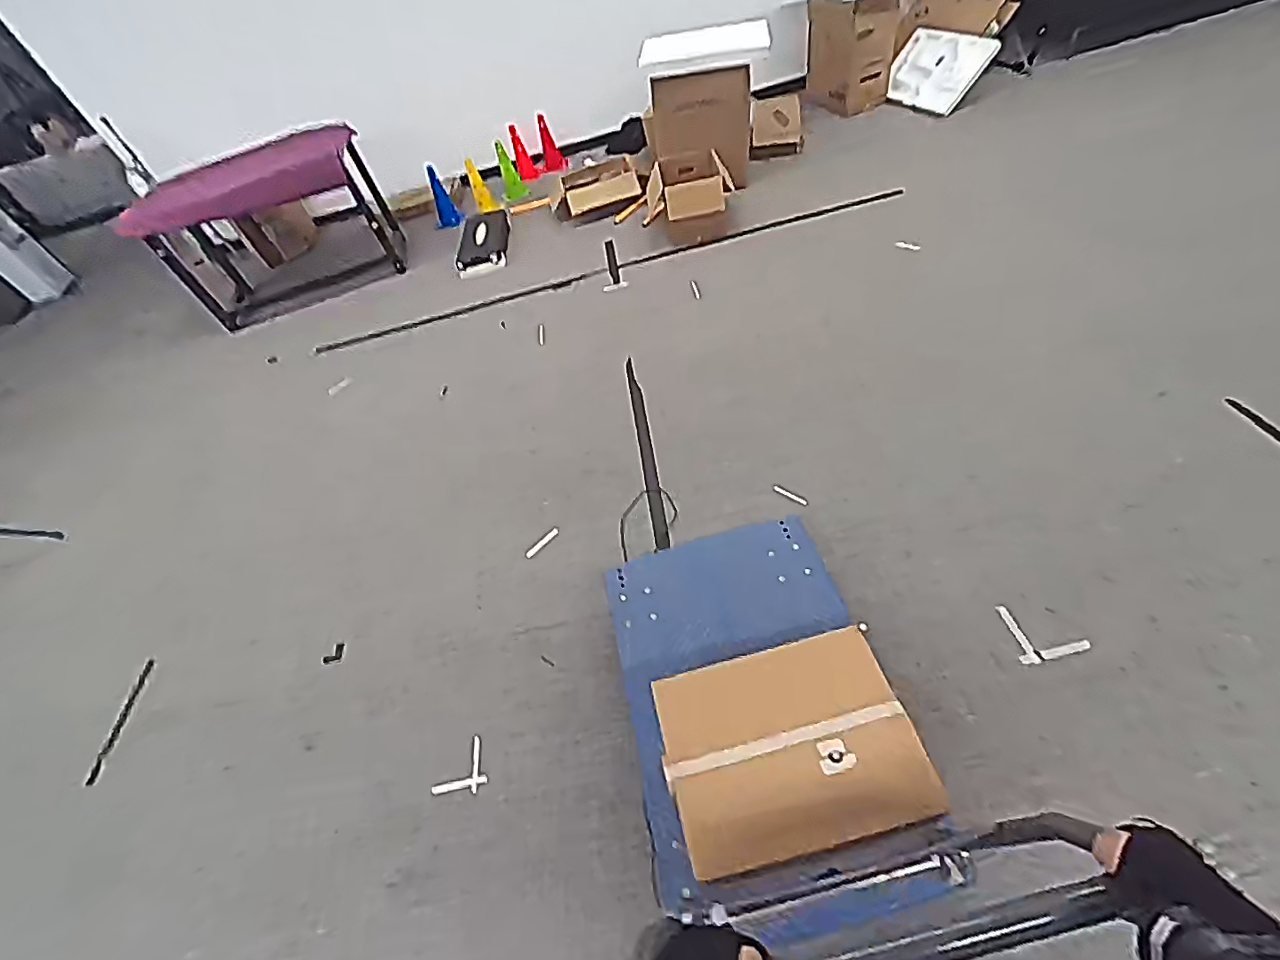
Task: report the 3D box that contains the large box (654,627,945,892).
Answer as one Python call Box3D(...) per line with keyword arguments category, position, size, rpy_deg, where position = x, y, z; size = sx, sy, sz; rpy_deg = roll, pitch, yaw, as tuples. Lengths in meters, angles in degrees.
Box3D(category="large box", position=(0.272, 0.536, 1.030), size=(0.408, 0.320, 0.320), rpy_deg=(-16, 50, 0))
